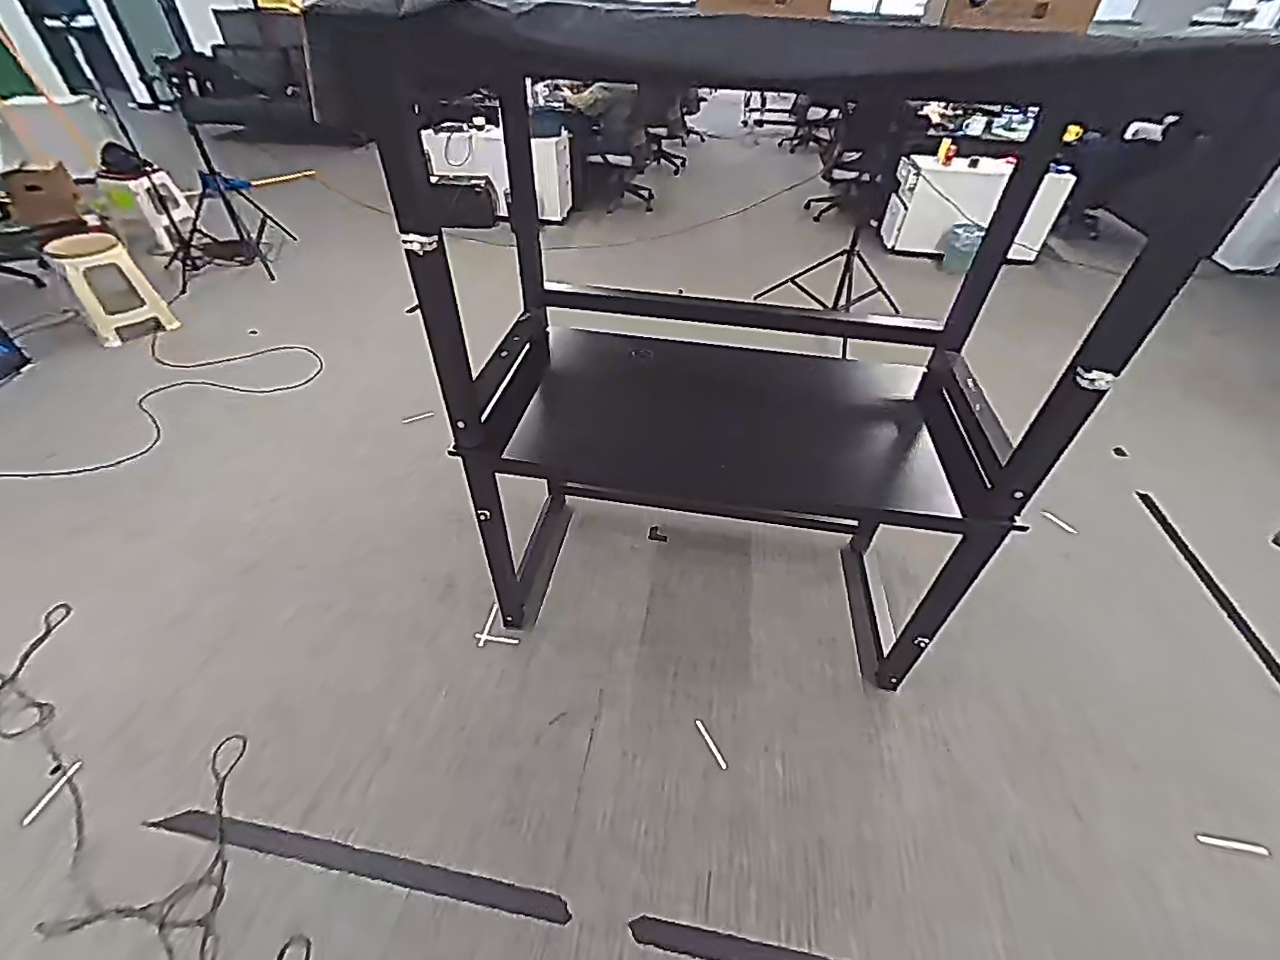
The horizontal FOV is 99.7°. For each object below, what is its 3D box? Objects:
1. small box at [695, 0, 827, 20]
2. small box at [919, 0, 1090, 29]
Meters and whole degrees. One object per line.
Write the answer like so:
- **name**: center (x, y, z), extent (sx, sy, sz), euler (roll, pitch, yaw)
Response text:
- **small box**: center (0.163, -0.691, 0.675), extent (0.168, 0.176, 0.179), euler (8, 40, 7)
- **small box**: center (0.459, -0.655, 0.651), extent (0.168, 0.176, 0.179), euler (10, 41, 9)
